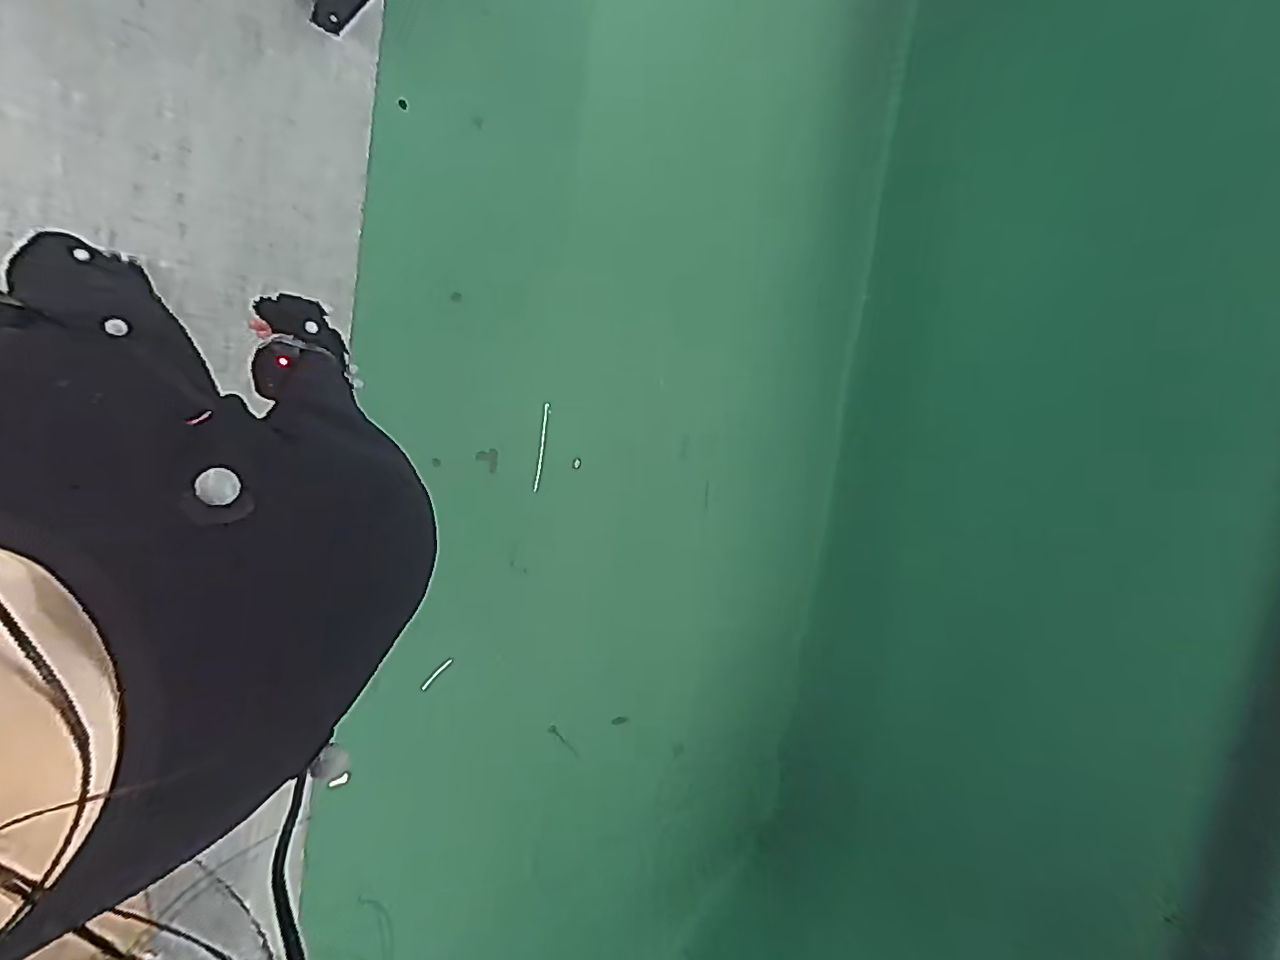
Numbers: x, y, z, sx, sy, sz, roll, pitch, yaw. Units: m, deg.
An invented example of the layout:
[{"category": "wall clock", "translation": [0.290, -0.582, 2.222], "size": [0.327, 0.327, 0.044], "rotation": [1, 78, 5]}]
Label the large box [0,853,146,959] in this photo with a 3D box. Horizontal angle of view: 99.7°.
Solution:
[{"category": "large box", "translation": [-1.231, 1.022, 1.017], "size": [0.408, 0.320, 0.320], "rotation": [3, 98, -50]}]
